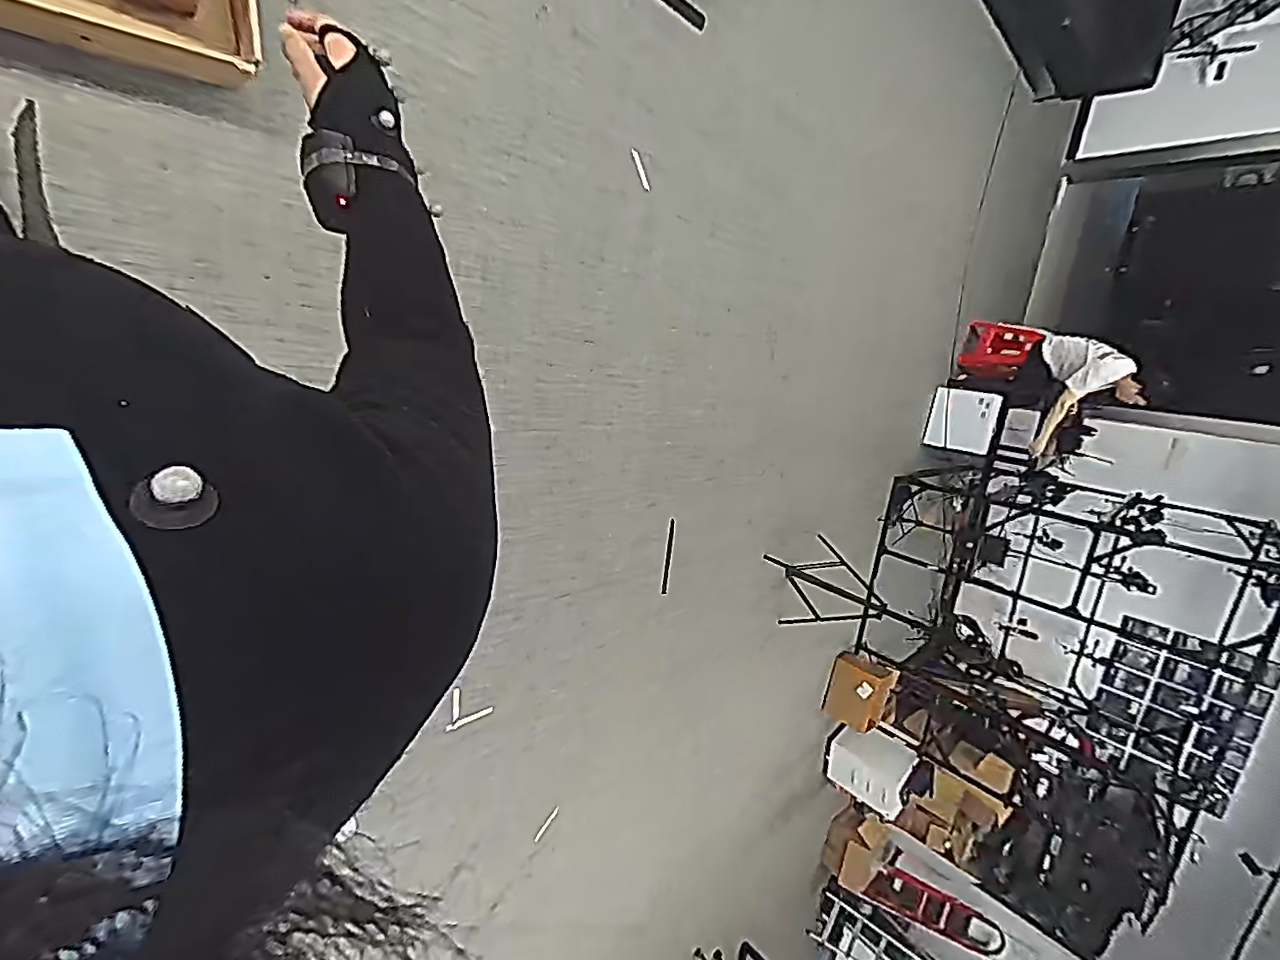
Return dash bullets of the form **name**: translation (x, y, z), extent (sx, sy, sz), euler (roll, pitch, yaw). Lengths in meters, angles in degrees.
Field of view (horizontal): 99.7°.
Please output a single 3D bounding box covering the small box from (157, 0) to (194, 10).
- **small box**: translation (-0.819, -0.905, 0.860), extent (0.168, 0.176, 0.179), euler (-10, 110, -43)
